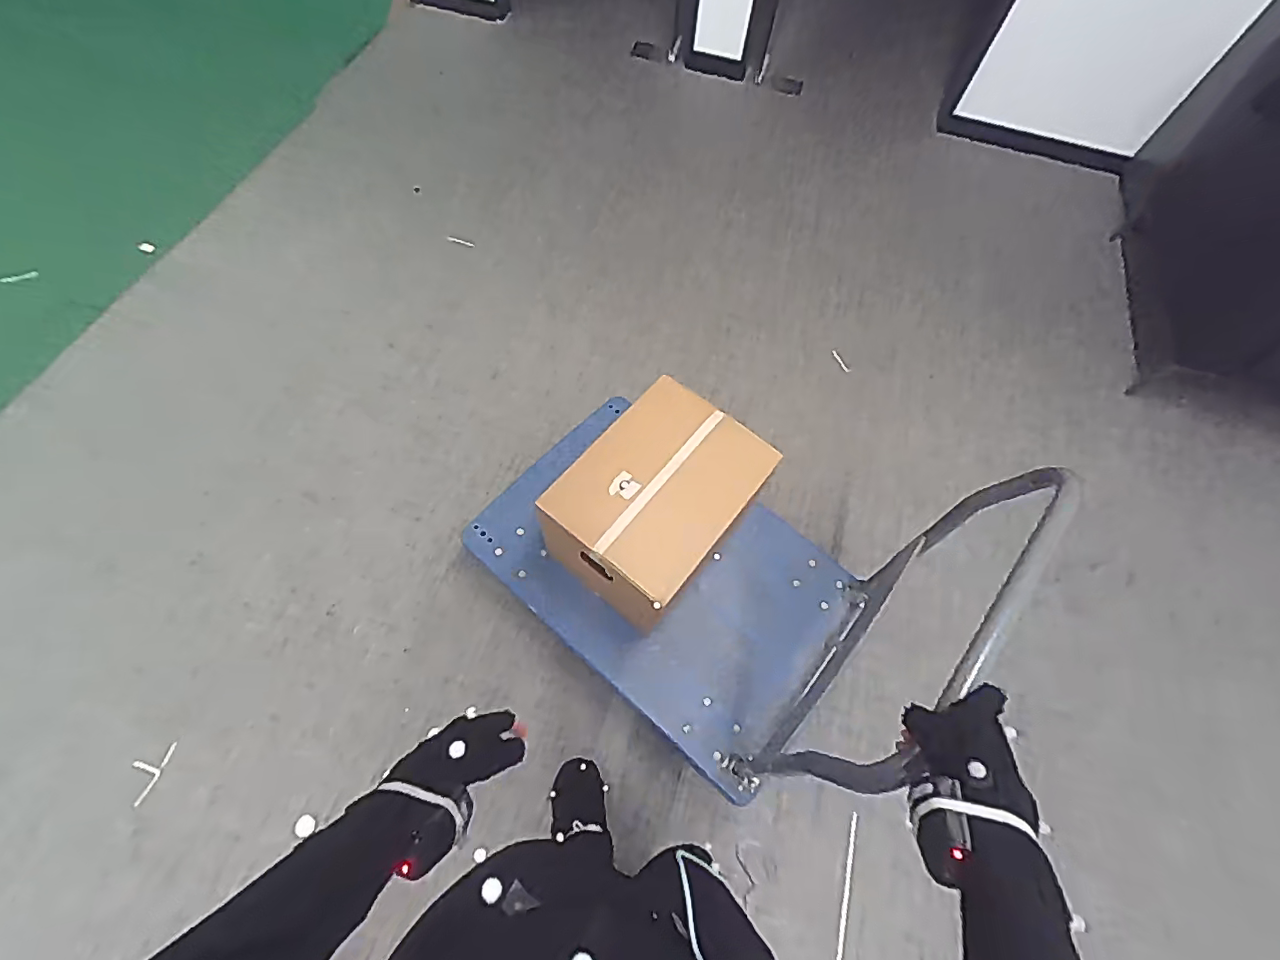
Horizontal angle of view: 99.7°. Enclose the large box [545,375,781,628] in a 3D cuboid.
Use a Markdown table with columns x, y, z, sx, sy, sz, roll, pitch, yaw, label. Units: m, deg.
| x | y | z | sx | sy | sz | roll | pitch | yaw | label |
| --- | --- | --- | --- | --- | --- | --- | --- | --- | --- |
| 0.045 | 0.056 | 1.203 | 0.320 | 0.320 | 0.408 | 37 | 68 | 13 | large box |
